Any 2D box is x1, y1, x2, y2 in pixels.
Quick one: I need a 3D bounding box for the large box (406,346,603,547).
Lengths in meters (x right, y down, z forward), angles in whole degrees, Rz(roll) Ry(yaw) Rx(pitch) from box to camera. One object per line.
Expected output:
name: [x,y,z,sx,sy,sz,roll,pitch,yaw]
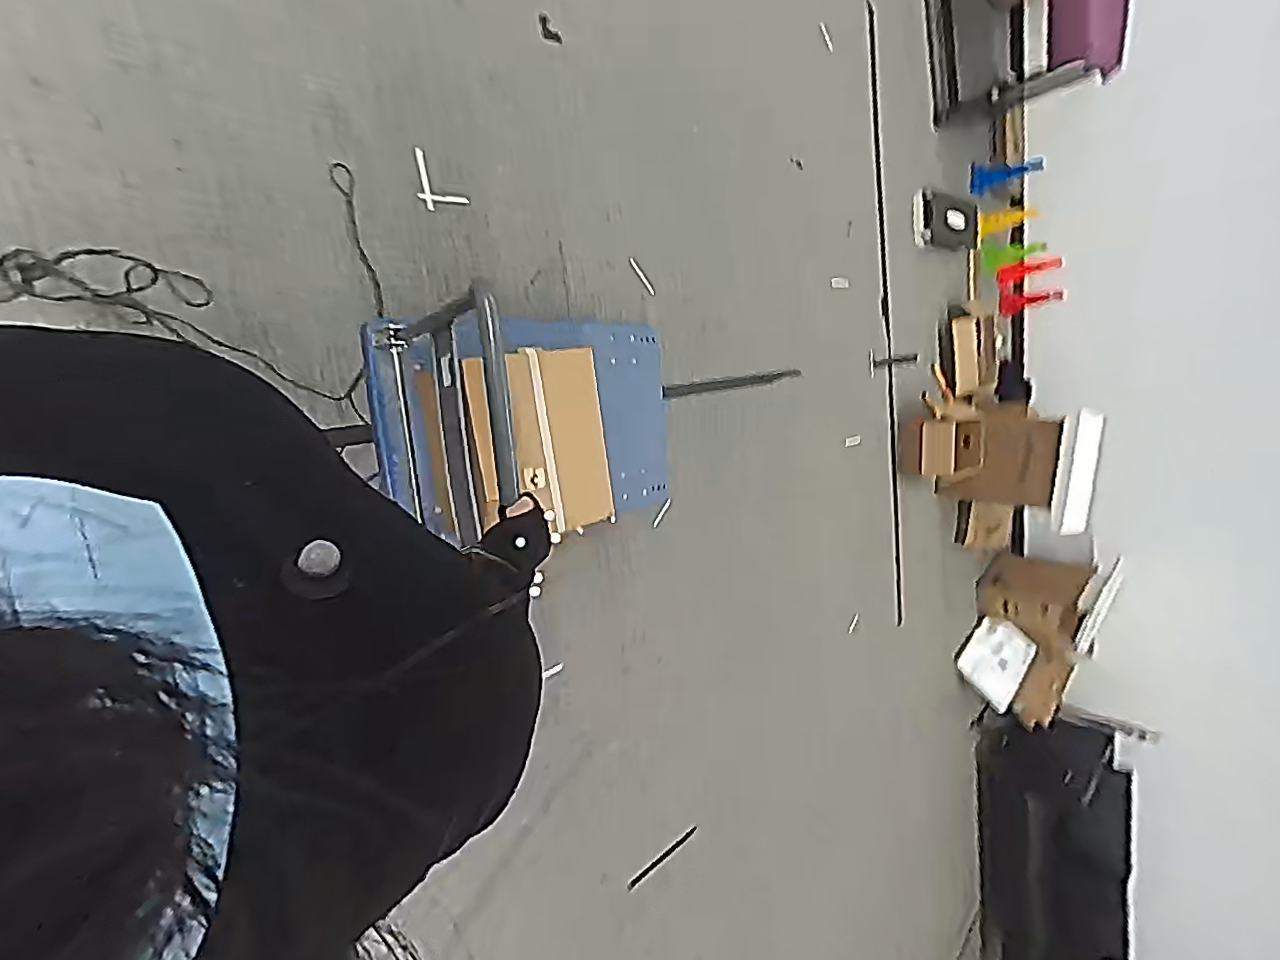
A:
large box: [-0.326,-0.095,1.303,0.320,0.320,0.408,-16,105,-37]
